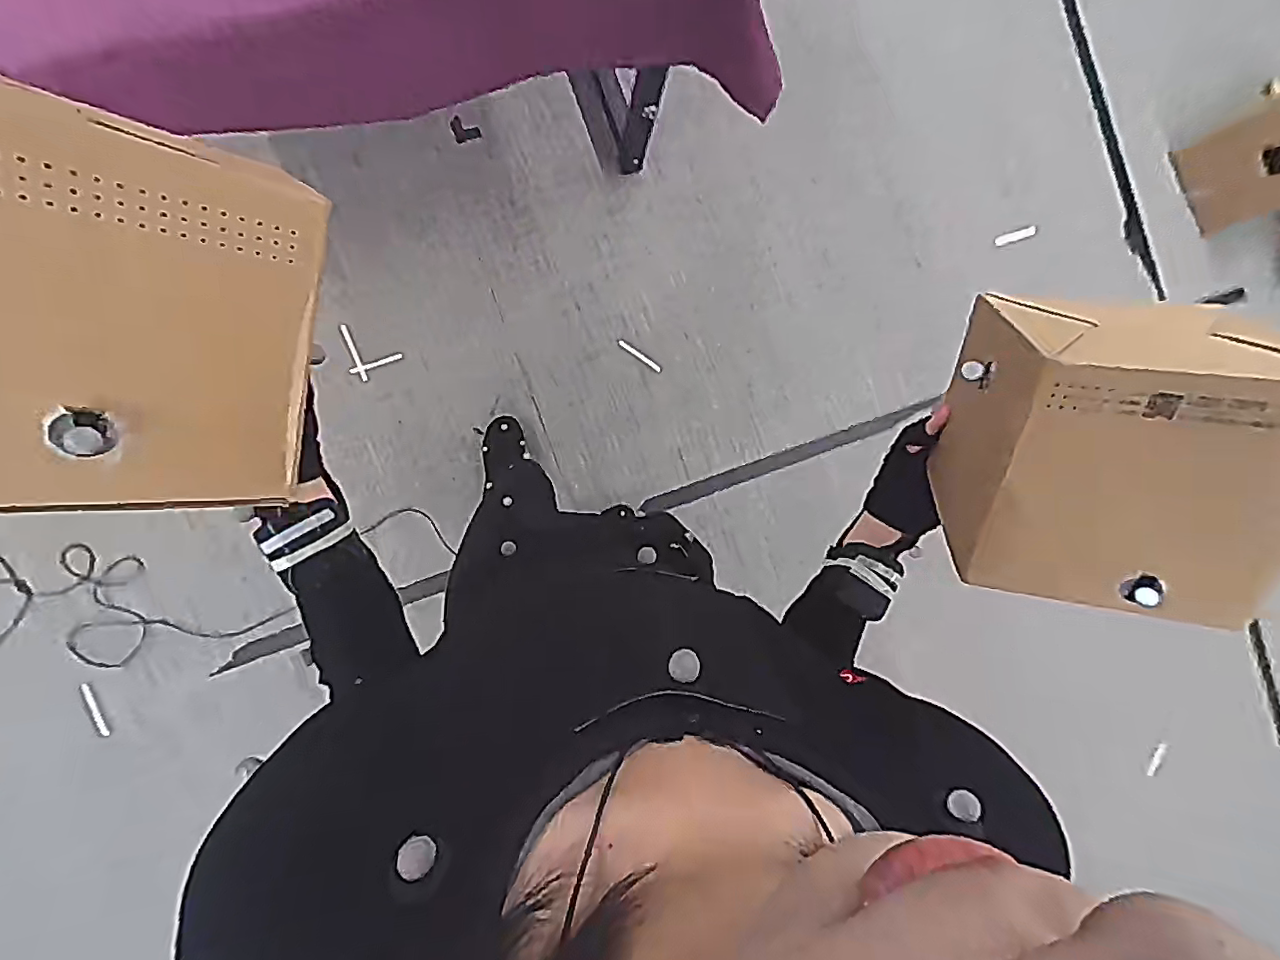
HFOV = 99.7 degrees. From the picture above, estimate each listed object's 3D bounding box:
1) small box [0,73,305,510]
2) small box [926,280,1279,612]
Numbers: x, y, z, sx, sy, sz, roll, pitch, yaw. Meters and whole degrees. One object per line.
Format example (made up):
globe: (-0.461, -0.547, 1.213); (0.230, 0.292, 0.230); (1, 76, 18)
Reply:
small box: (-0.286, -0.099, 0.272); (0.179, 0.168, 0.176); (1, 115, -42)
small box: (0.323, -0.040, 0.382); (0.168, 0.179, 0.176); (7, 123, 15)
